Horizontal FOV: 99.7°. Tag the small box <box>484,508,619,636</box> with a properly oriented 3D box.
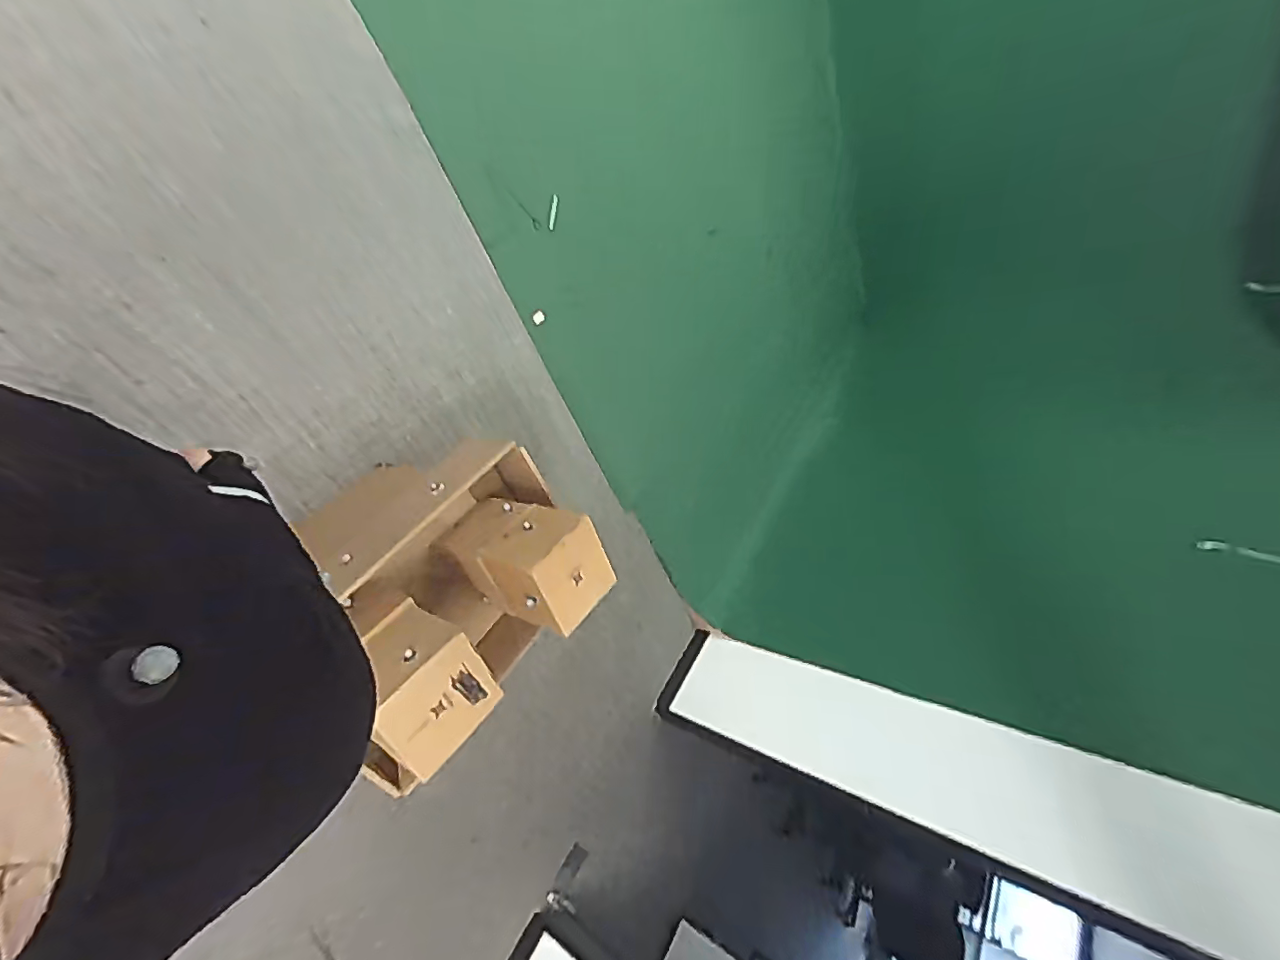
[{"bbox_3d":[-0.176,0.176,1.087,0.168,0.176,0.179,-44,127,-36],"label":"small box"}]

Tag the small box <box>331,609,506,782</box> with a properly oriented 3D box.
[{"bbox_3d":[-0.363,0.341,0.892,0.179,0.176,0.168,-44,126,-37],"label":"small box"}]
